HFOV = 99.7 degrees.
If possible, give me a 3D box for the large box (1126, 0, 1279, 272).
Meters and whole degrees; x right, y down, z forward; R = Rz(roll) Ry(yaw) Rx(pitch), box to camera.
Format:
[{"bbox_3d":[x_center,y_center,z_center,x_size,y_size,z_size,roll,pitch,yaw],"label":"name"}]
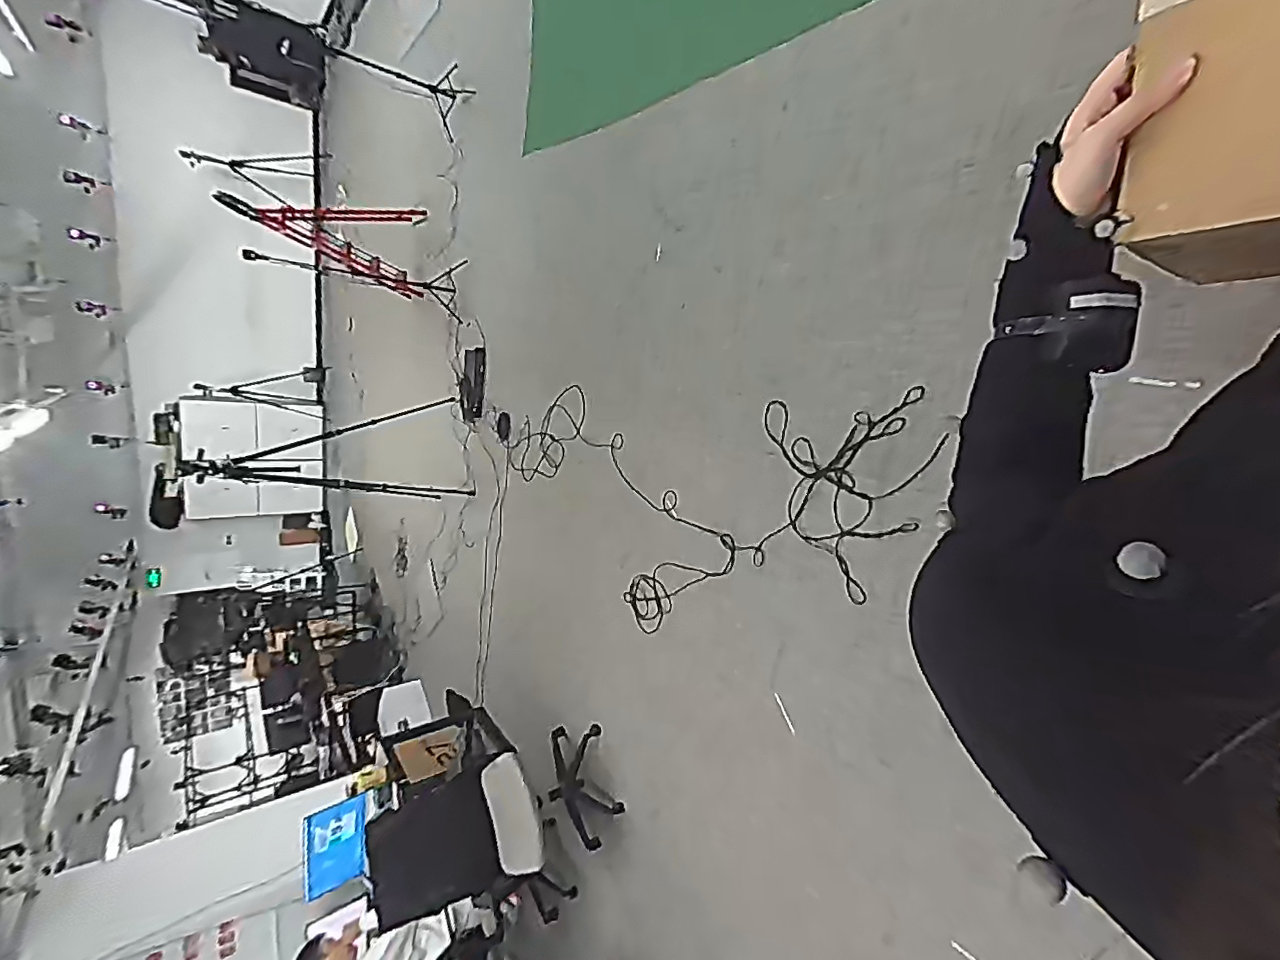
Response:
[{"bbox_3d":[0.605,-0.329,0.315,0.408,0.320,0.320,12,106,54],"label":"large box"}]
